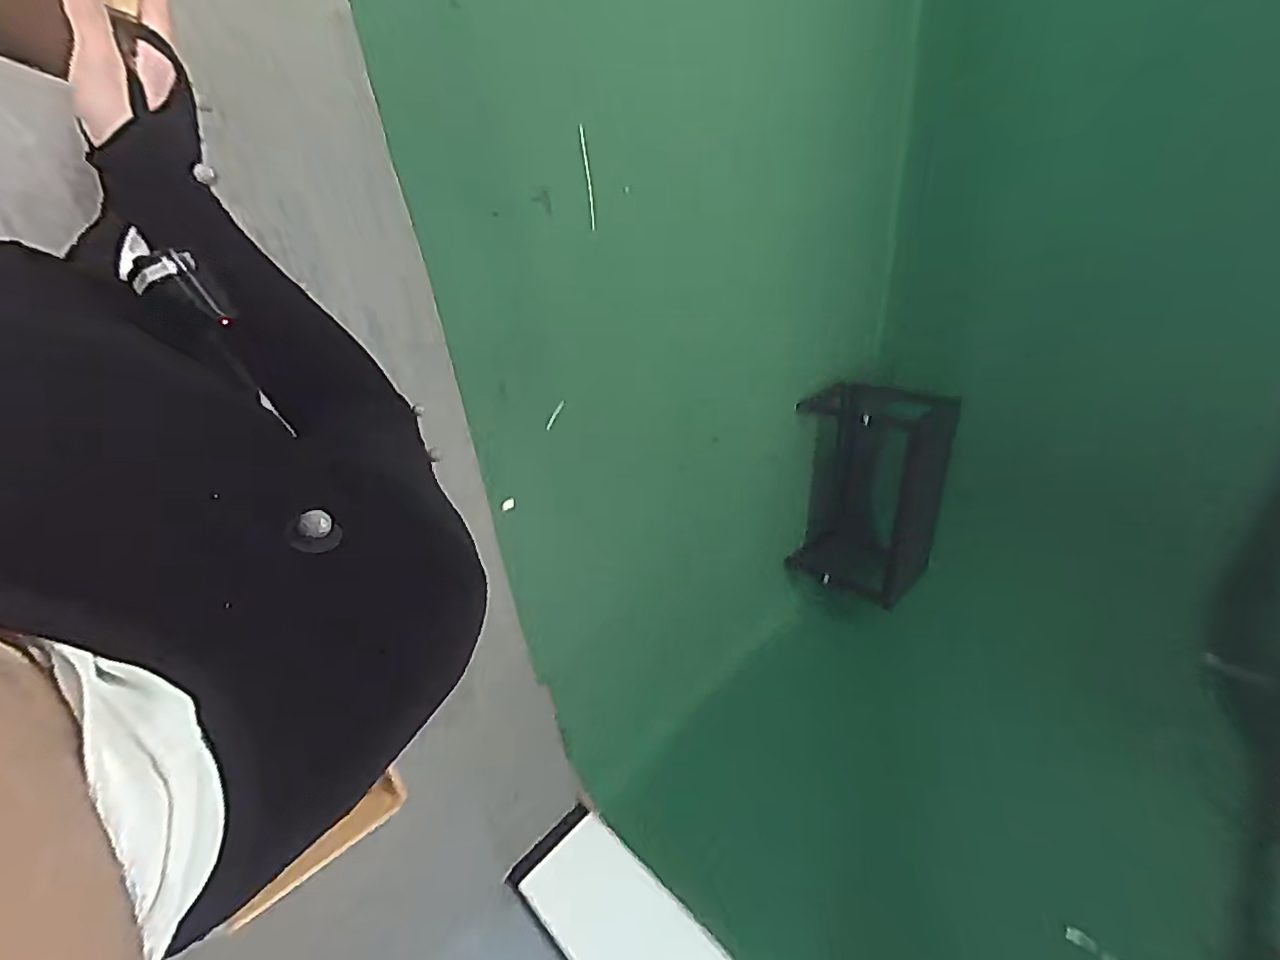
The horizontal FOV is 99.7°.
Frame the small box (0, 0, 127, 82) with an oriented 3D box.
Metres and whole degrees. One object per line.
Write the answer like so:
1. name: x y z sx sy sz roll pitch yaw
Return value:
1. small box: -0.470 -0.425 0.371 0.168 0.176 0.179 -2 98 -49
